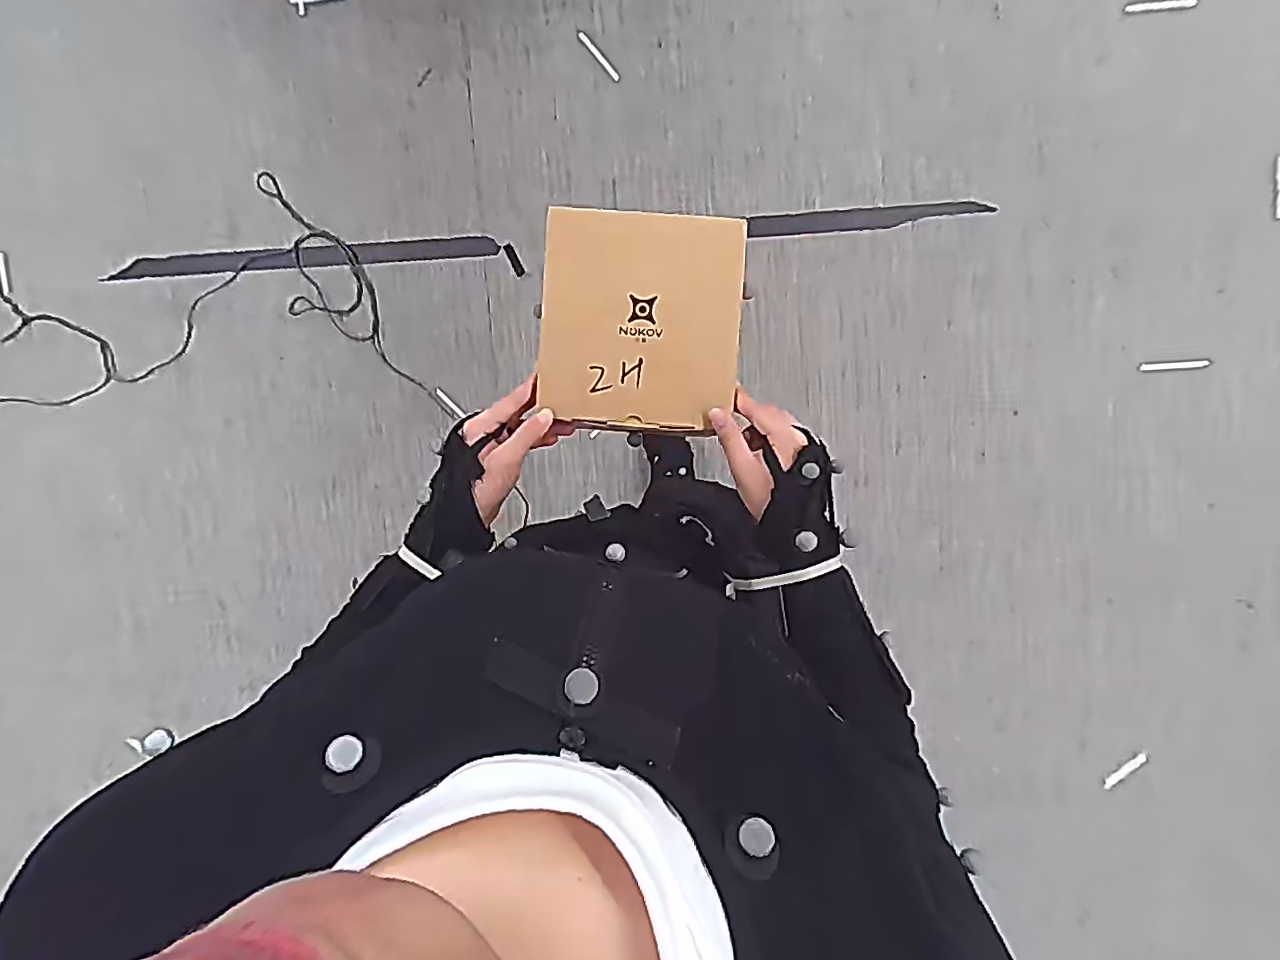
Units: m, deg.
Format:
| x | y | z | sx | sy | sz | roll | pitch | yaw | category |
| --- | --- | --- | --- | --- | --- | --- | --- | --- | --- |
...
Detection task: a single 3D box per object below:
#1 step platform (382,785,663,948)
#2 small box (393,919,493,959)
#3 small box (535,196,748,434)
| x | y | z | sx | sy | sz | roll | pitch | yaw | category |
| --- | --- | --- | --- | --- | --- | --- | --- | --- | --- |
| -0.285 | 0.973 | 1.365 | 0.684 | 0.204 | 0.286 | -4 | 95 | 2 | step platform |
| -0.384 | 0.992 | 1.033 | 0.168 | 0.176 | 0.179 | -6 | 94 | 3 | small box |
| 0.001 | -0.142 | 0.523 | 0.168 | 0.176 | 0.179 | 4 | 92 | 1 | small box |
